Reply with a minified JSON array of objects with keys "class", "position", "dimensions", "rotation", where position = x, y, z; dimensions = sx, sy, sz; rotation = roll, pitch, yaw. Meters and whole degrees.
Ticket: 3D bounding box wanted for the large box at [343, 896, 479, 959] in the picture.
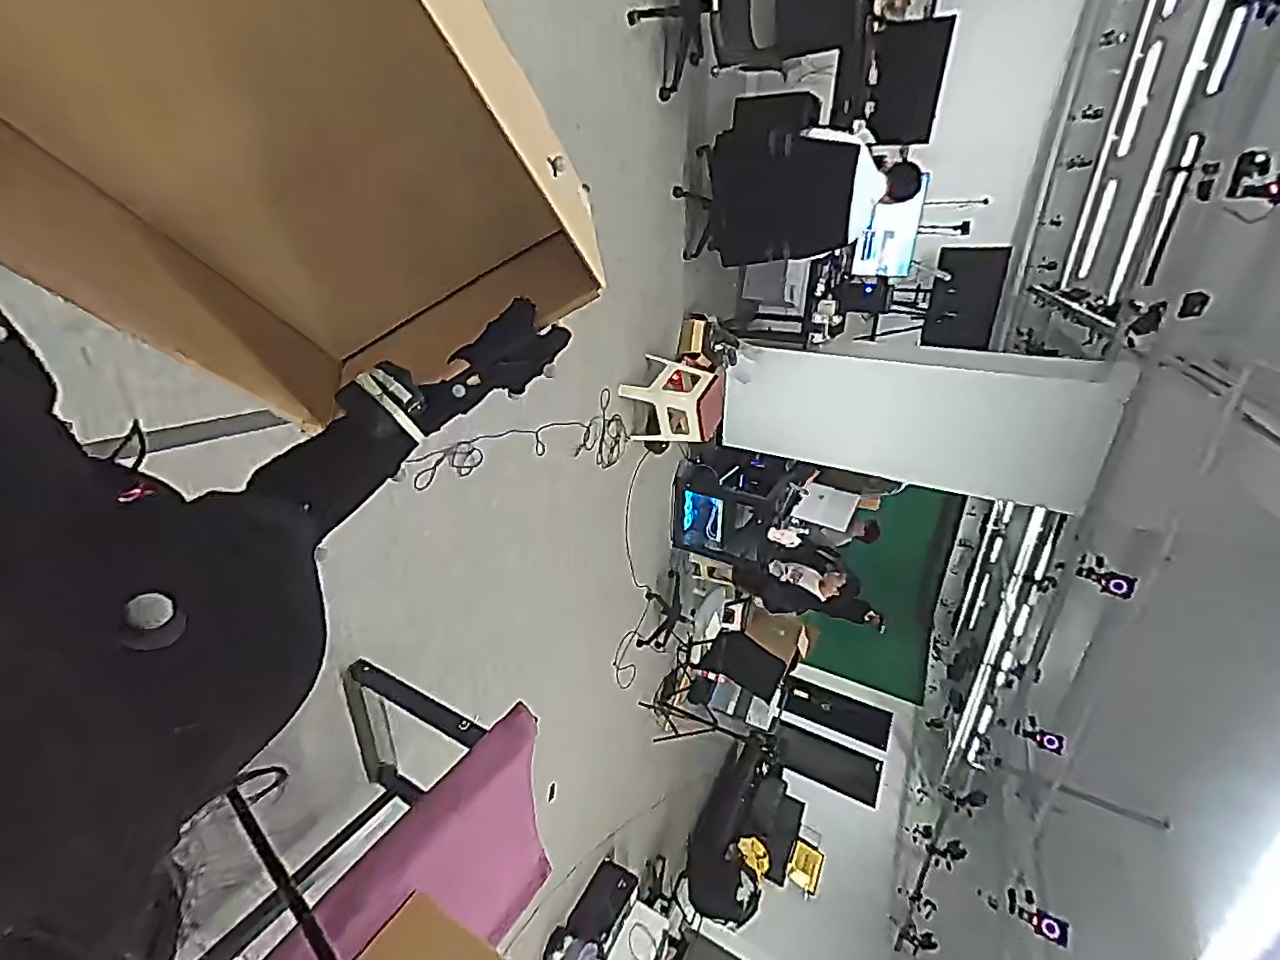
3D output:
[{"class":"large box","position":[-0.521,1.189,1.086],"dimensions":[0.408,0.320,0.320],"rotation":[-33,130,-53]}]
